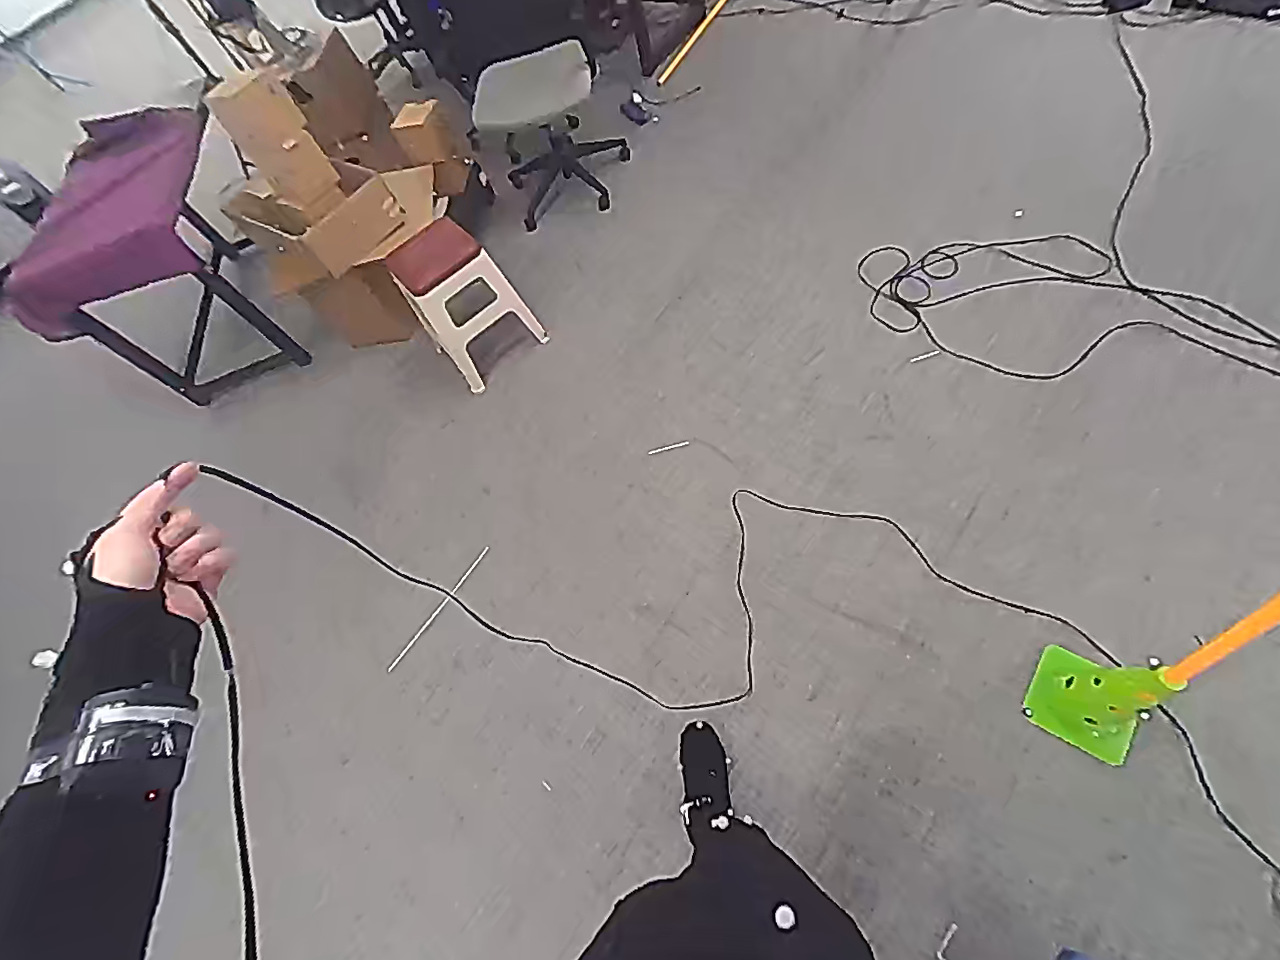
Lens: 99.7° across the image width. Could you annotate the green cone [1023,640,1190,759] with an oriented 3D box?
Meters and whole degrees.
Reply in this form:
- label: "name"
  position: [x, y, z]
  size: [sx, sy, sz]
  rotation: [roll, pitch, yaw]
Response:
- label: "green cone"
  position: [0.970, 0.413, 1.084]
  size: [0.200, 0.368, 0.202]
  rotation: [26, 71, 26]
